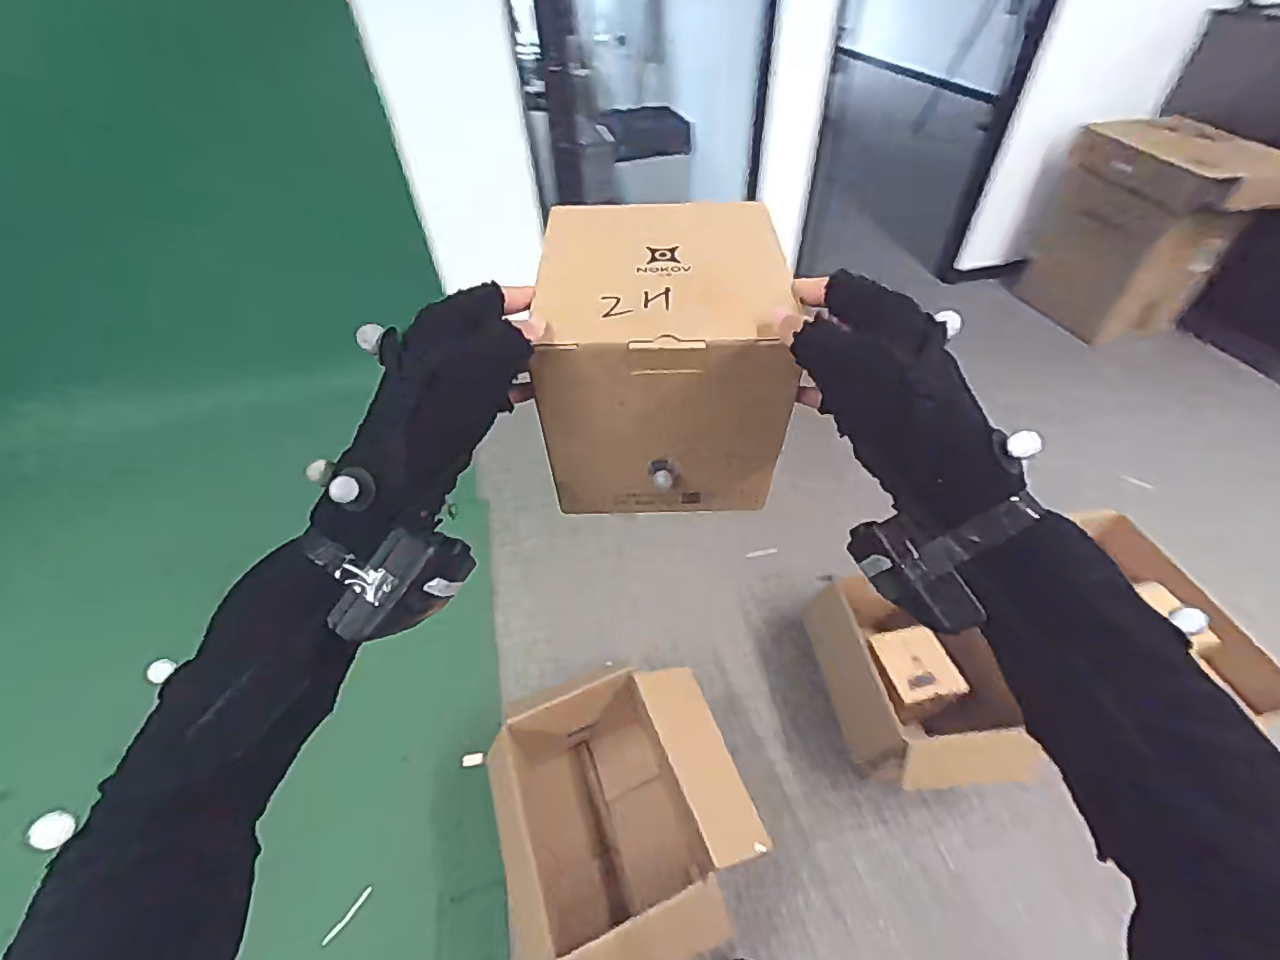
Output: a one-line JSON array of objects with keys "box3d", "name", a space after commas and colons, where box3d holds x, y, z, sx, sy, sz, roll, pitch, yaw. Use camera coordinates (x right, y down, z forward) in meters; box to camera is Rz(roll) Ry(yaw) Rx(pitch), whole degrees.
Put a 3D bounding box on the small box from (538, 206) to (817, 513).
[{"box3d": [0.024, -0.093, 0.427, 0.168, 0.176, 0.179, -1, 52, 2], "name": "small box"}]
